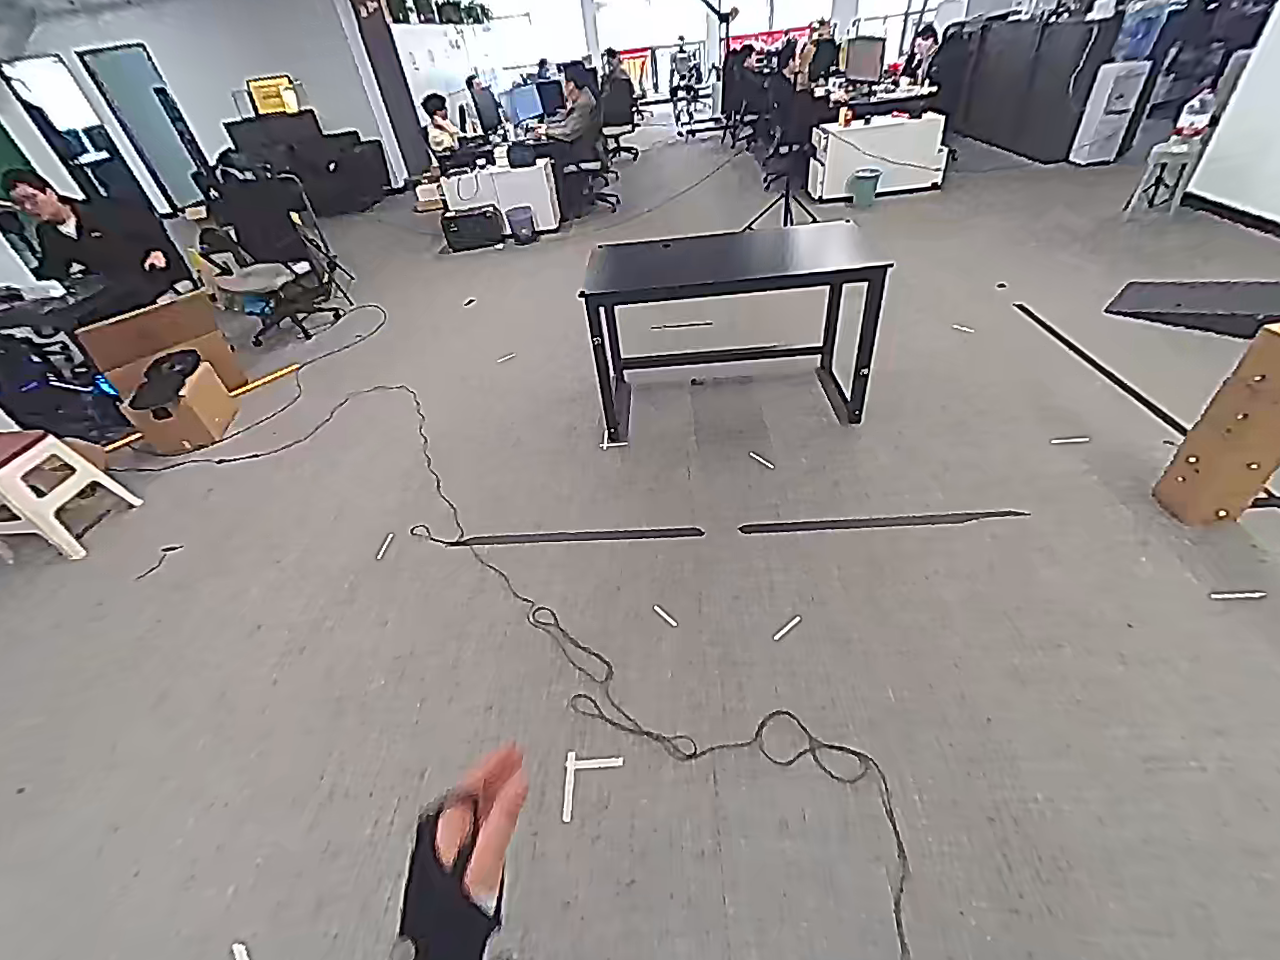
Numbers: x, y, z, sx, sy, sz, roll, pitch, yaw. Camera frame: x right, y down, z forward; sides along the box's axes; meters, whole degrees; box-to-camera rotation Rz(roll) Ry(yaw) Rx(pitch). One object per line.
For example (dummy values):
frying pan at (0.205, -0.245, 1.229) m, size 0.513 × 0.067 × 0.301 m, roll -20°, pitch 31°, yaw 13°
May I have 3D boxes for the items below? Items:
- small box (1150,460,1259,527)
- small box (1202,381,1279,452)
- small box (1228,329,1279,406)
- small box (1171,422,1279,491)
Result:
small box at (1.949, 0.045, 1.882) m, size 0.168 × 0.176 × 0.179 m, roll -4°, pitch 40°, yaw 6°
small box at (1.909, -0.200, 1.669) m, size 0.179 × 0.176 × 0.168 m, roll -4°, pitch 41°, yaw 4°
small box at (1.894, -0.323, 1.561) m, size 0.168 × 0.176 × 0.179 m, roll -5°, pitch 42°, yaw 5°
small box at (1.925, -0.078, 1.775) m, size 0.179 × 0.176 × 0.168 m, roll -4°, pitch 40°, yaw 6°
